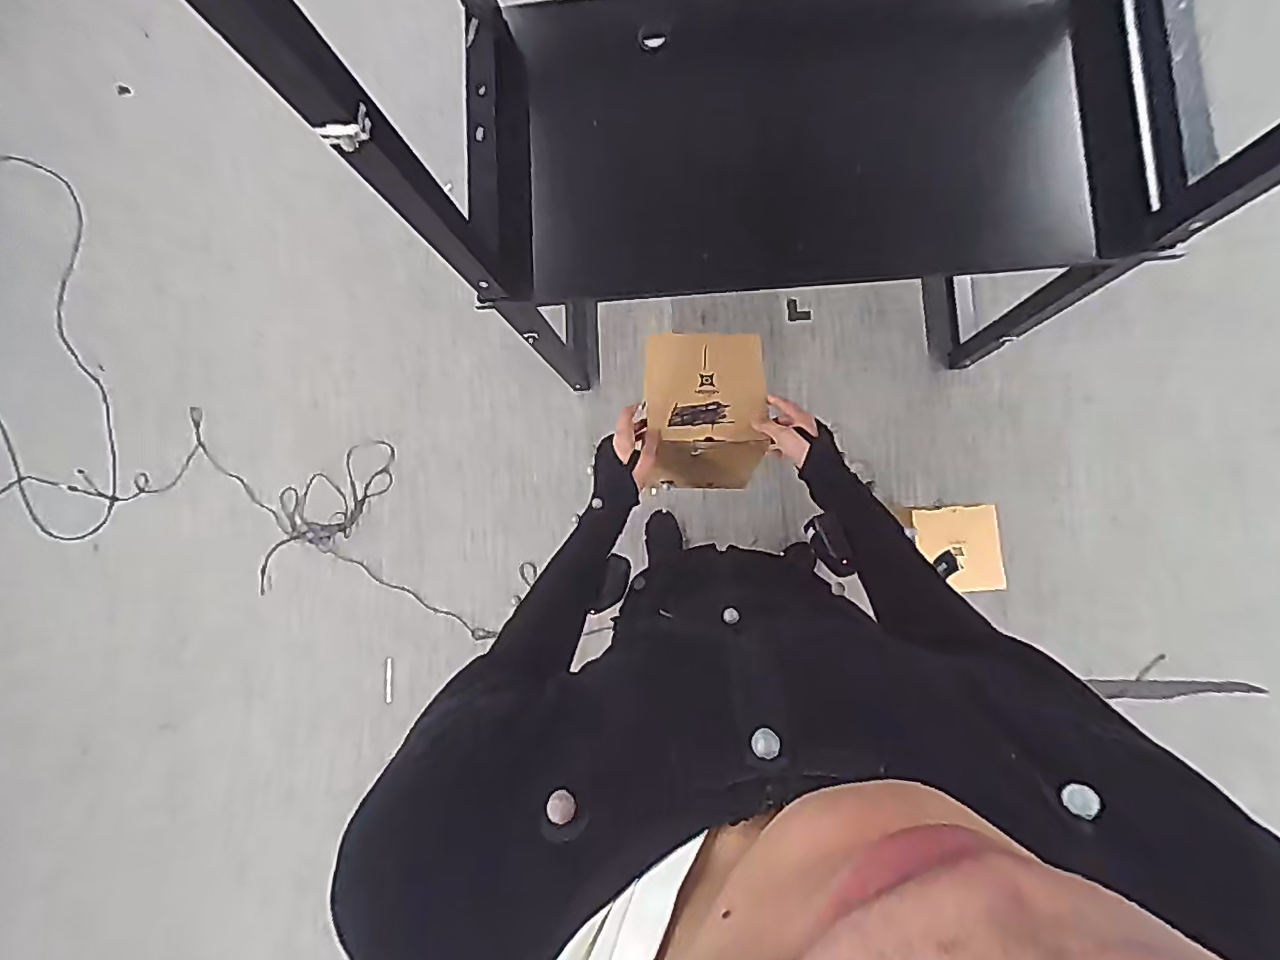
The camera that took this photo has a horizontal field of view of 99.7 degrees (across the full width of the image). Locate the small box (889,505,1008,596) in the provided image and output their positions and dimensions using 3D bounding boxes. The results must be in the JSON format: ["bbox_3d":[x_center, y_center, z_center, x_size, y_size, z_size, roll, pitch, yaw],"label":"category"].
[{"bbox_3d":[0.661,0.148,1.179,0.168,0.176,0.179,-6,85,7],"label":"small box"}]

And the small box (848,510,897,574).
[{"bbox_3d":[0.696,0.168,1.504,0.179,0.176,0.168,-4,85,7],"label":"small box"}]

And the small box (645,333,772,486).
[{"bbox_3d":[0.093,-0.098,0.811,0.168,0.176,0.179,0,67,-1],"label":"small box"}]
